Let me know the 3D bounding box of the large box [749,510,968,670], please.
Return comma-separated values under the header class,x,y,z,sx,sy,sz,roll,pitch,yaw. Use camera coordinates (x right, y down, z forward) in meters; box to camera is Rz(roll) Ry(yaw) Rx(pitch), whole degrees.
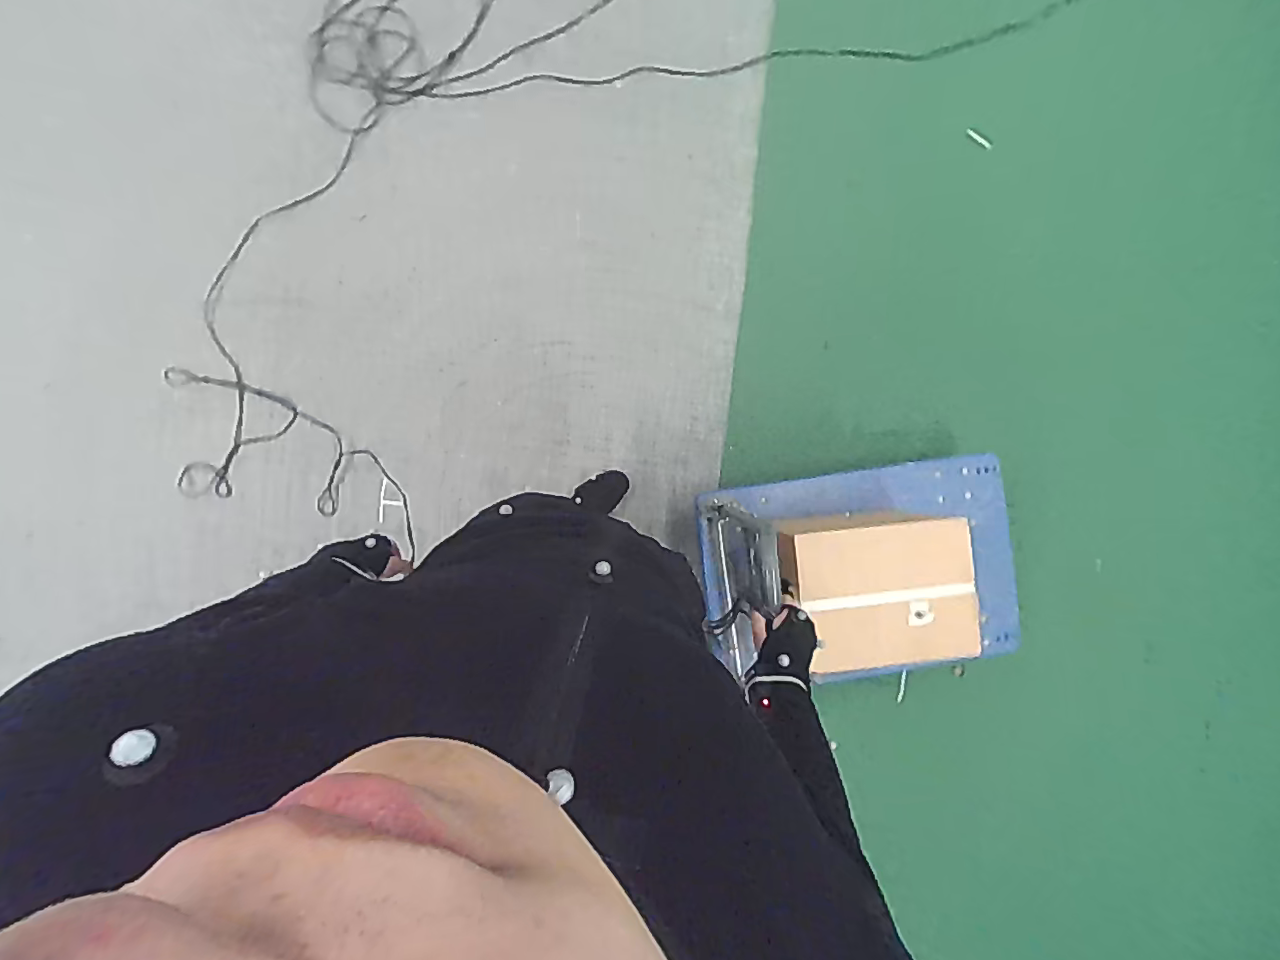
class,x,y,z,sx,sy,sz,roll,pitch,yaw
large box,0.522,0.252,1.357,0.408,0.320,0.320,-5,91,-5
